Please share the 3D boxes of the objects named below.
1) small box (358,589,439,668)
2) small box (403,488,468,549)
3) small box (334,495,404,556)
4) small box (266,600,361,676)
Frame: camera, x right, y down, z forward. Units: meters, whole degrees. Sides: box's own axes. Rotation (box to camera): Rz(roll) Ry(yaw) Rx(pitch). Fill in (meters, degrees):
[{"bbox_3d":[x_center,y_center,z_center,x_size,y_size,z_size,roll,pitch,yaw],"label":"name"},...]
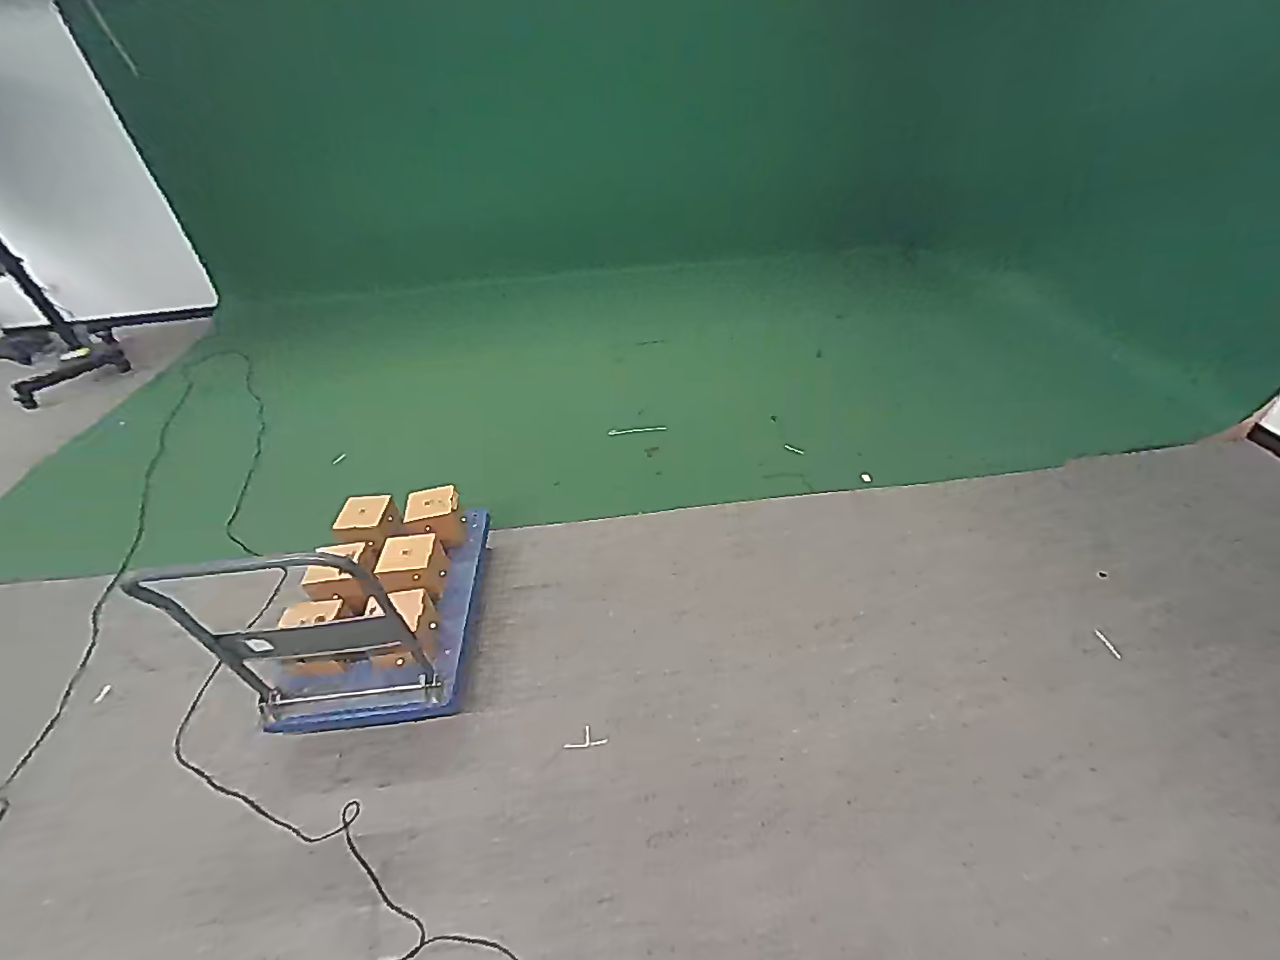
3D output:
[{"bbox_3d":[-0.752,0.470,1.707,0.179,0.176,0.168,-7,40,-3],"label":"small box"},{"bbox_3d":[-0.782,0.151,2.086,0.179,0.176,0.168,-5,43,-2],"label":"small box"},{"bbox_3d":[-1.033,0.180,2.082,0.168,0.176,0.179,-3,40,1],"label":"small box"},{"bbox_3d":[-1.014,0.498,1.701,0.179,0.176,0.168,-5,40,1],"label":"small box"}]
